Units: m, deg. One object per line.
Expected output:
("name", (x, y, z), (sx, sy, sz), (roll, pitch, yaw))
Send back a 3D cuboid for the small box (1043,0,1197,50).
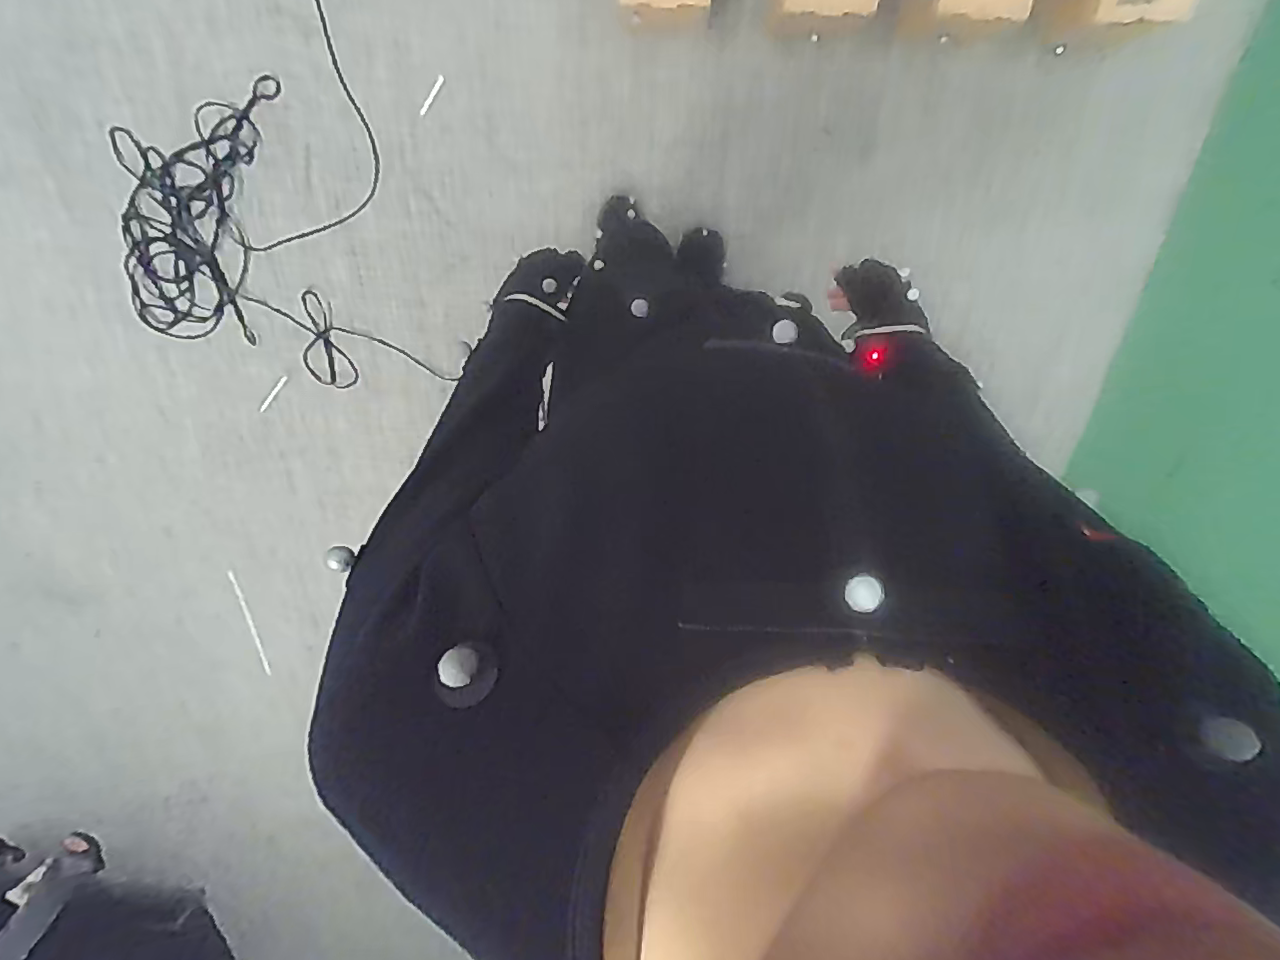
("small box", (0.881, -0.907, 0.981), (0.168, 0.176, 0.179), (2, 116, 2))
